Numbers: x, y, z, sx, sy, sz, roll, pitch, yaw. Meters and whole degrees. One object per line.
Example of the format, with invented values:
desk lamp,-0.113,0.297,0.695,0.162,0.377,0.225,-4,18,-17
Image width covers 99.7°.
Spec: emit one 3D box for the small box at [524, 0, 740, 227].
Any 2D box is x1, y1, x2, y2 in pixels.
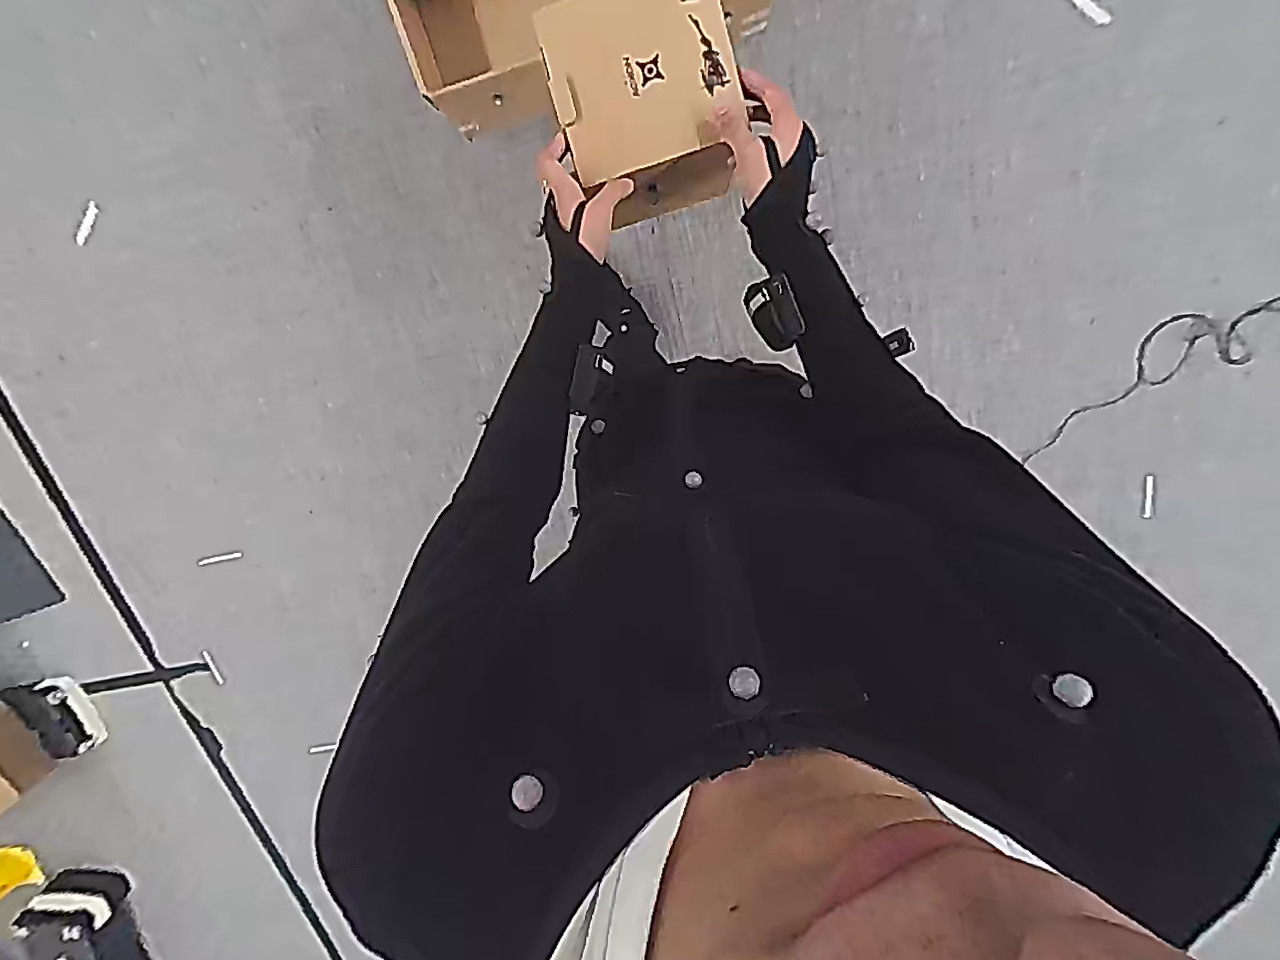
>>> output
small box,-0.001,-0.400,0.590,0.179,0.176,0.168,-15,99,7
